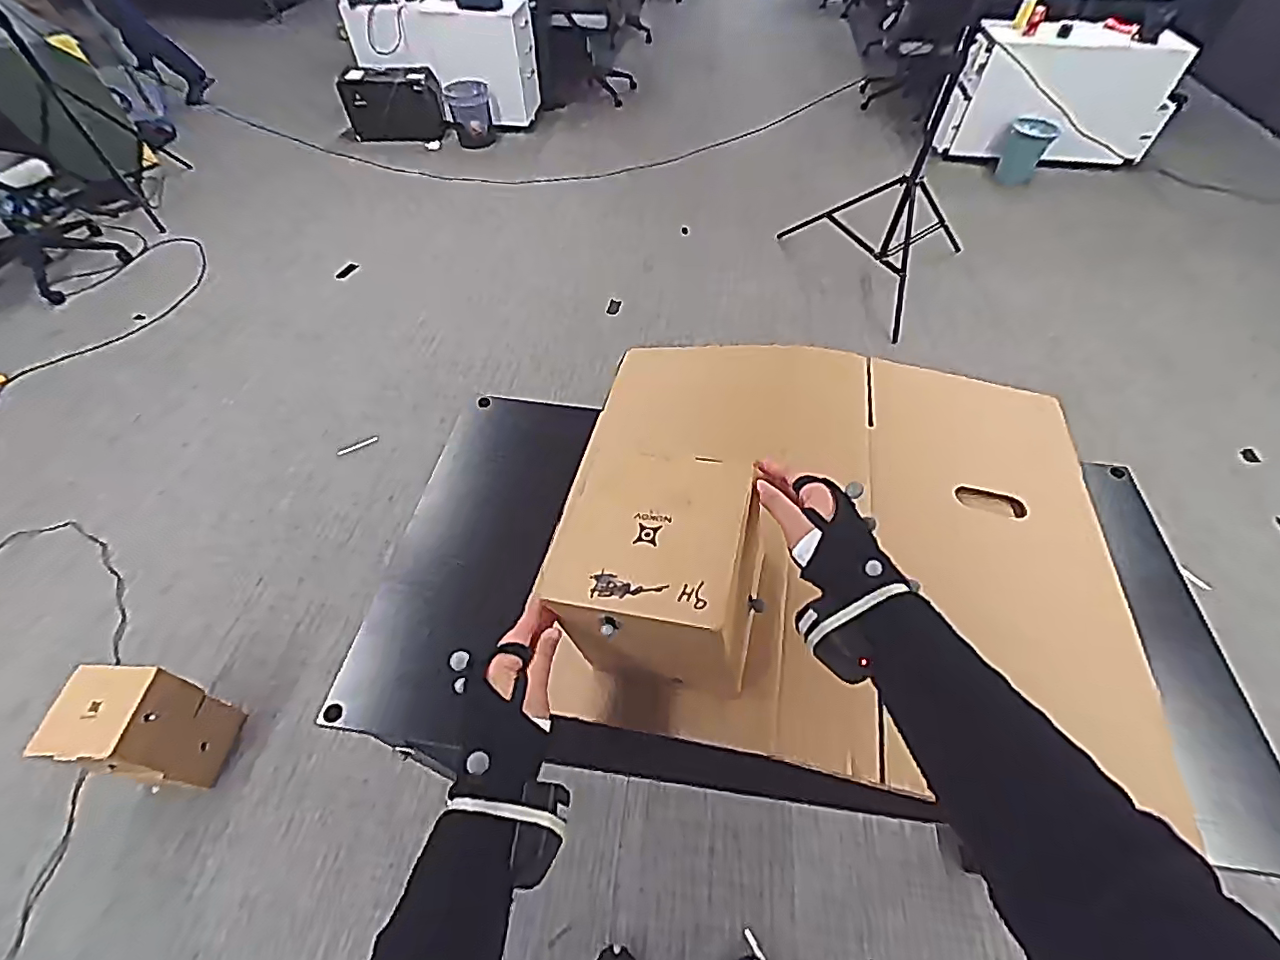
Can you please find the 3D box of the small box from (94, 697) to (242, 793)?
[{"bbox_3d":[-1.083,0.615,1.265,0.168,0.176,0.179,3,53,2],"label":"small box"}]

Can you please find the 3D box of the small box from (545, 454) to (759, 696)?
[{"bbox_3d":[0.029,0.096,0.562,0.168,0.176,0.179,5,52,20],"label":"small box"}]

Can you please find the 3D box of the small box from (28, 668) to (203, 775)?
[{"bbox_3d":[-1.082,0.512,1.139,0.168,0.176,0.179,1,52,-1],"label":"small box"}]
